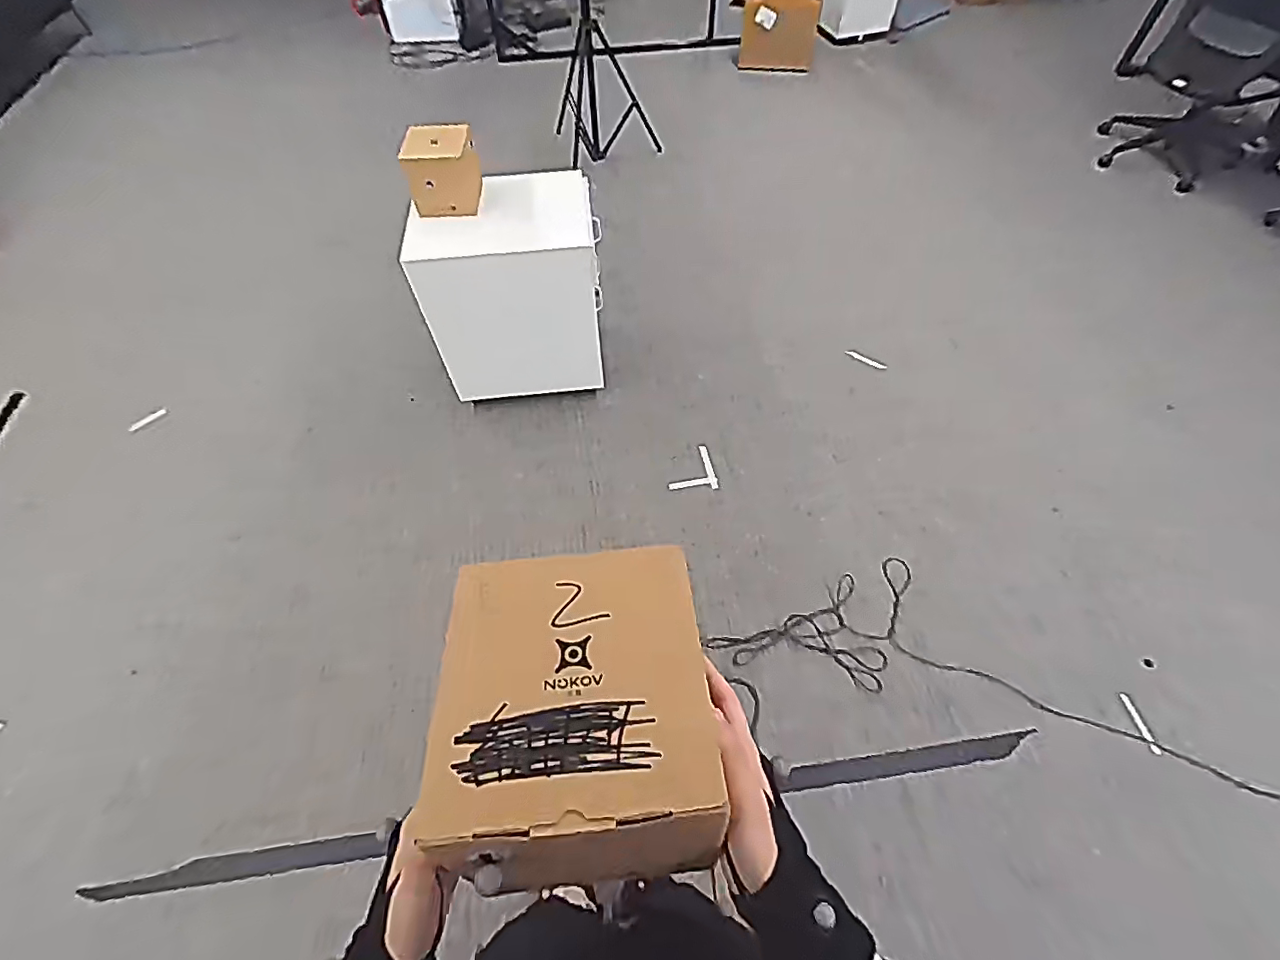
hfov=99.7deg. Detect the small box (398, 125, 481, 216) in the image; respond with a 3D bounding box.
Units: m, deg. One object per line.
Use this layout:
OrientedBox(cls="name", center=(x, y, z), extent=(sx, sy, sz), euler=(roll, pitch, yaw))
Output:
OrientedBox(cls="small box", center=(-0.551, -0.860, 1.515), extent=(0.168, 0.176, 0.179), euler=(-3, 57, -2))
